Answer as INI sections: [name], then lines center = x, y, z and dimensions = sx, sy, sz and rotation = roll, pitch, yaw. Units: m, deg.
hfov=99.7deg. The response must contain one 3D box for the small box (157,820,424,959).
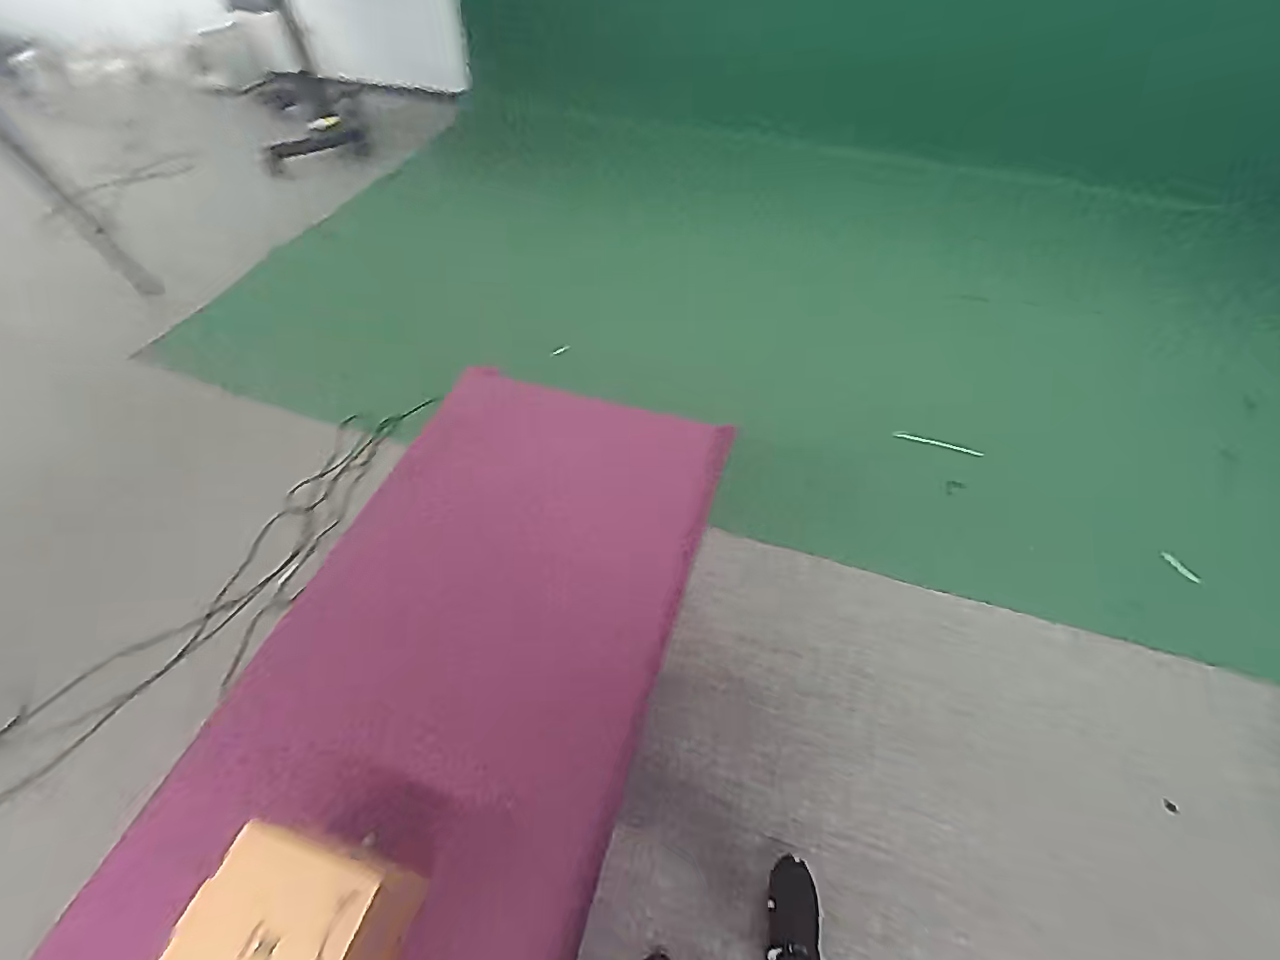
[small box]
center = -0.377, 0.508, 0.599
dimensions = 0.179, 0.176, 0.168
rotation = 14, 54, 11
